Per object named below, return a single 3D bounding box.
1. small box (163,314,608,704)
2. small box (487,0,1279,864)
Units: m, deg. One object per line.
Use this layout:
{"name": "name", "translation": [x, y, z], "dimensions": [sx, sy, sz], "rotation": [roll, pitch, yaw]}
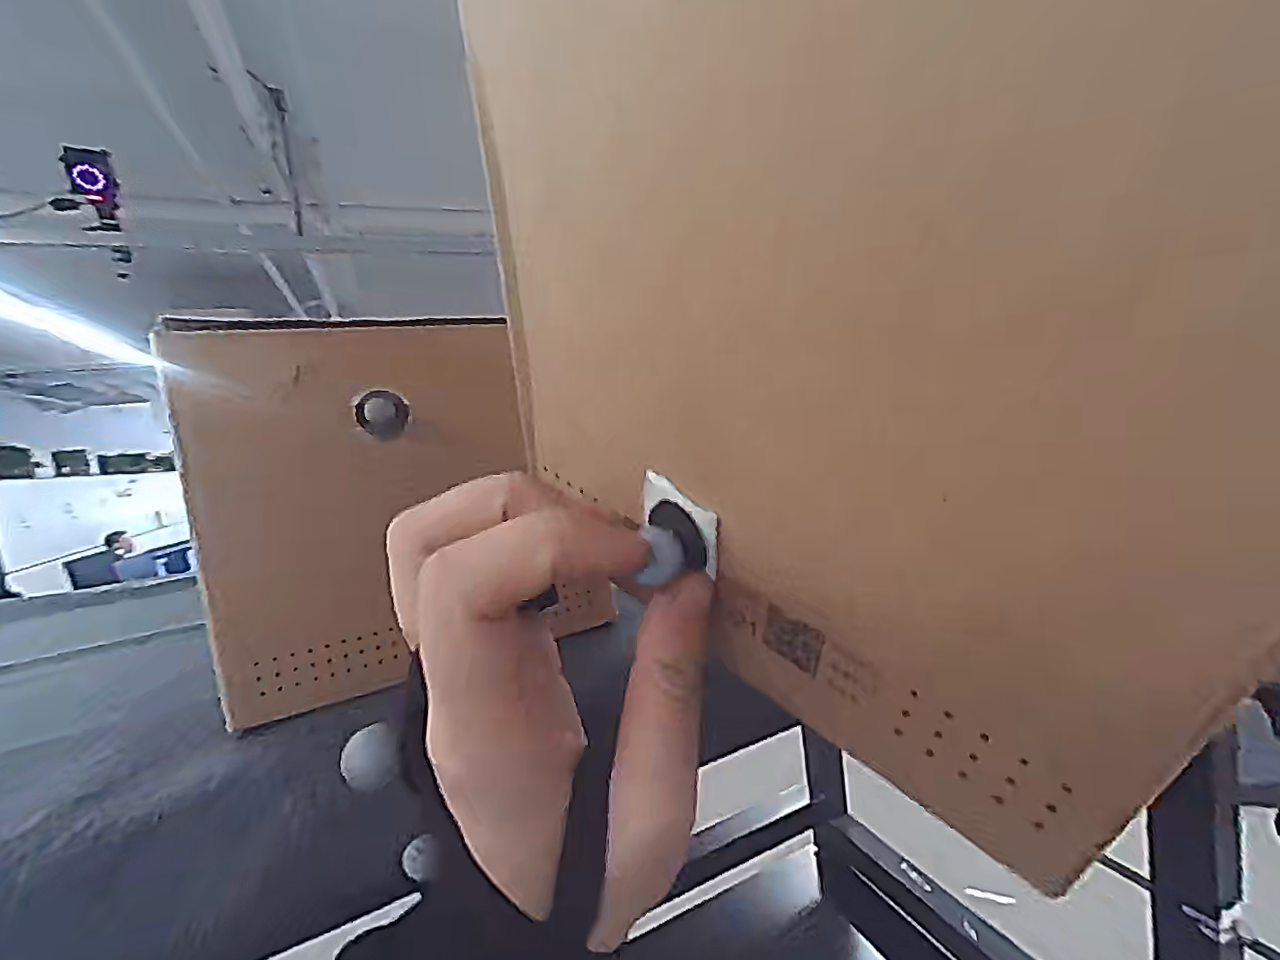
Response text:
{"name": "small box", "translation": [-0.136, 0.009, 0.327], "dimensions": [0.179, 0.176, 0.168], "rotation": [-10, 4, -26]}
{"name": "small box", "translation": [0.080, -0.048, 0.161], "dimensions": [0.168, 0.176, 0.179], "rotation": [26, 42, 38]}
